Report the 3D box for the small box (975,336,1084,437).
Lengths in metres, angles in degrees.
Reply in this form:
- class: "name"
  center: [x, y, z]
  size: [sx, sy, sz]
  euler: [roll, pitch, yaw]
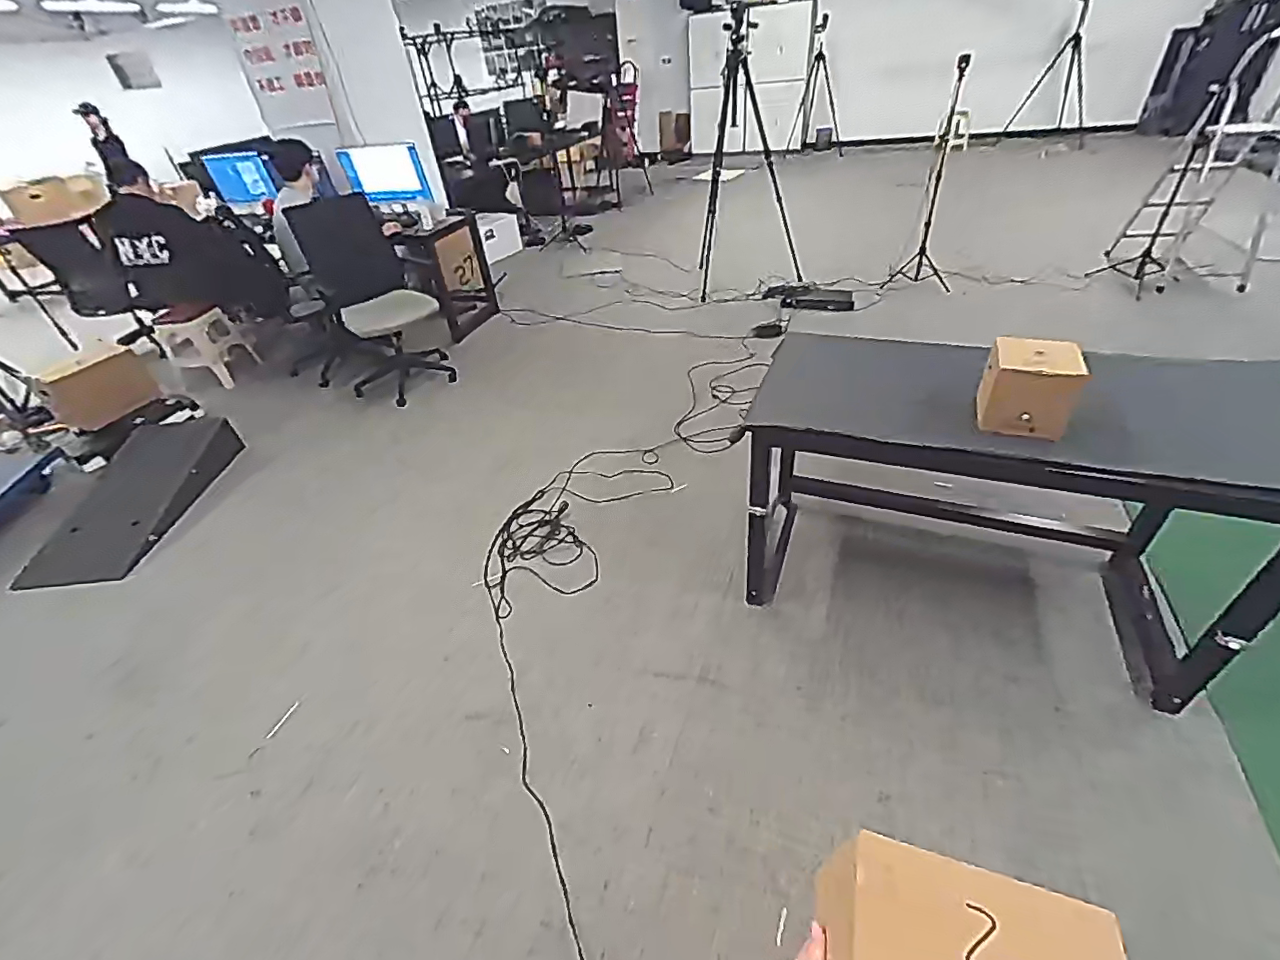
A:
- class: "small box"
  center: [0.913, -0.225, 1.284]
  size: [0.168, 0.176, 0.179]
  euler: [11, 41, 23]
